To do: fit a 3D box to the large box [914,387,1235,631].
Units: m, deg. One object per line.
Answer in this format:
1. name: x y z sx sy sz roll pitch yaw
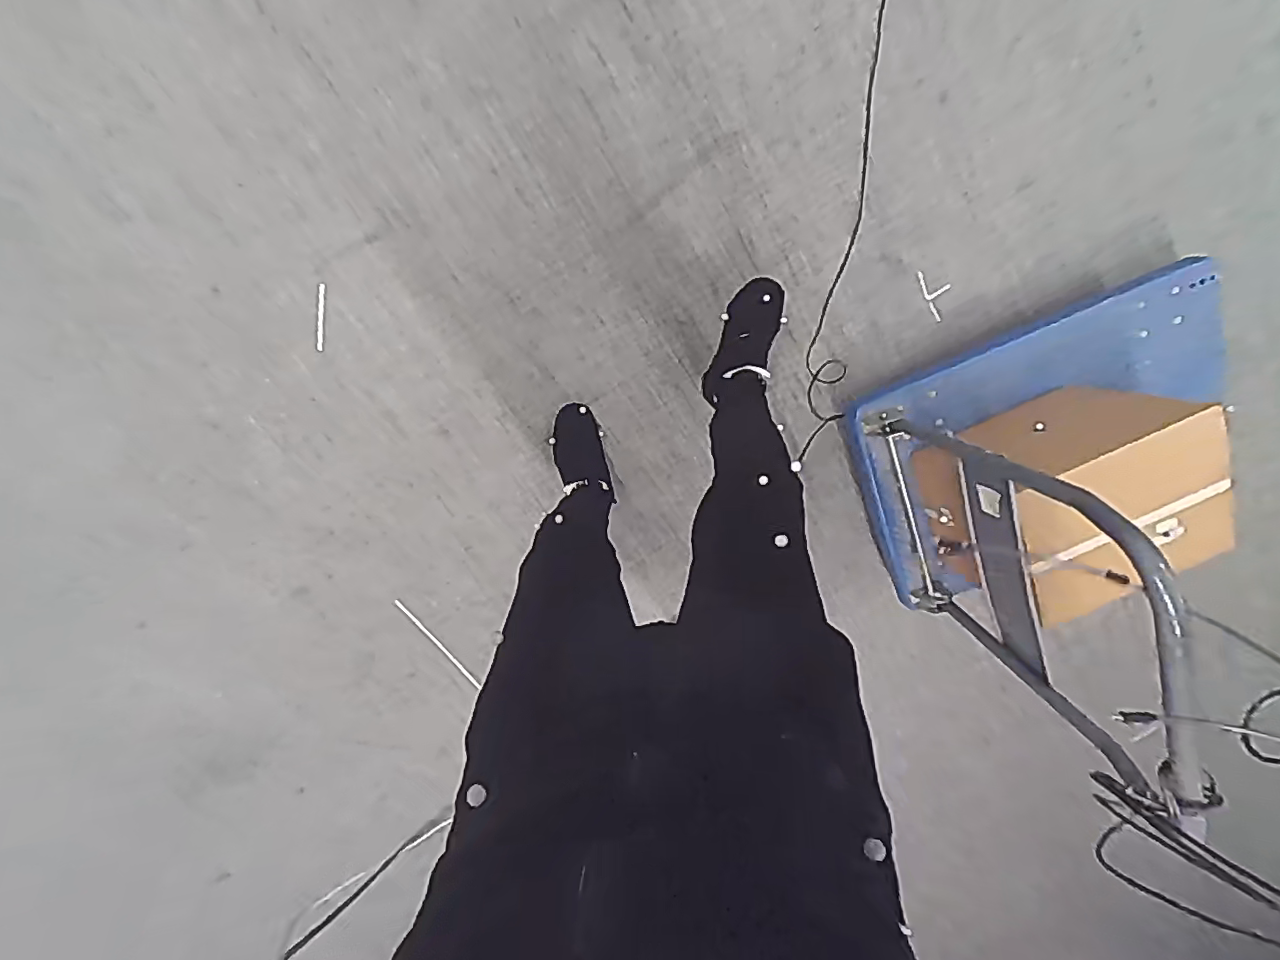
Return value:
1. large box: 0.875 0.037 1.130 0.408 0.320 0.320 -24 108 1
